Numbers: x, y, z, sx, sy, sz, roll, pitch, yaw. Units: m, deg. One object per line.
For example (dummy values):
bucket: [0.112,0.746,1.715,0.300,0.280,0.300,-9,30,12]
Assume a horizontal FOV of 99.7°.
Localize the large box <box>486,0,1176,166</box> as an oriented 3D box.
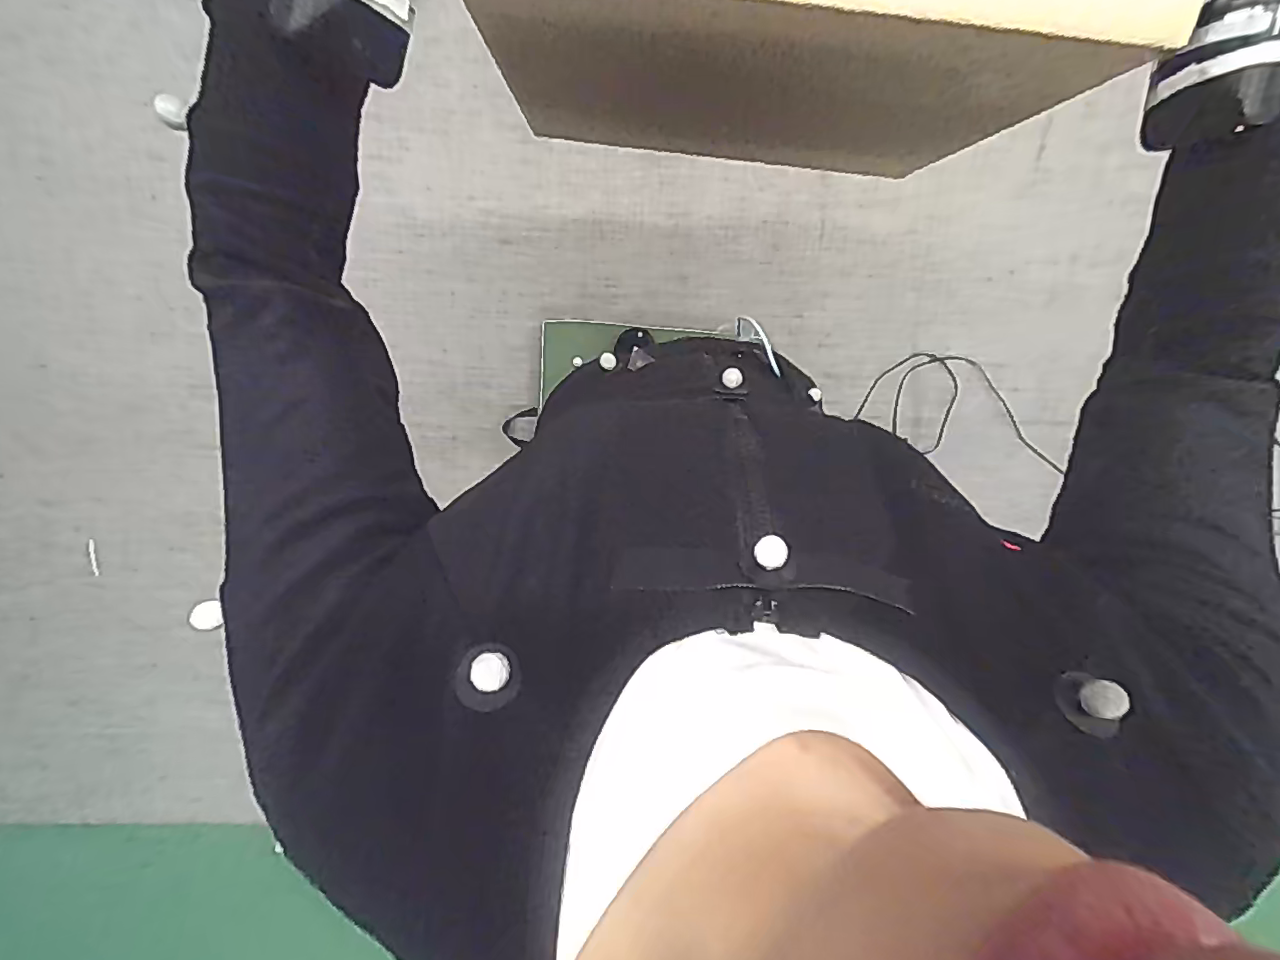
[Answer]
large box: [0.105,-0.452,0.393,0.408,0.320,0.320,4,108,-4]
